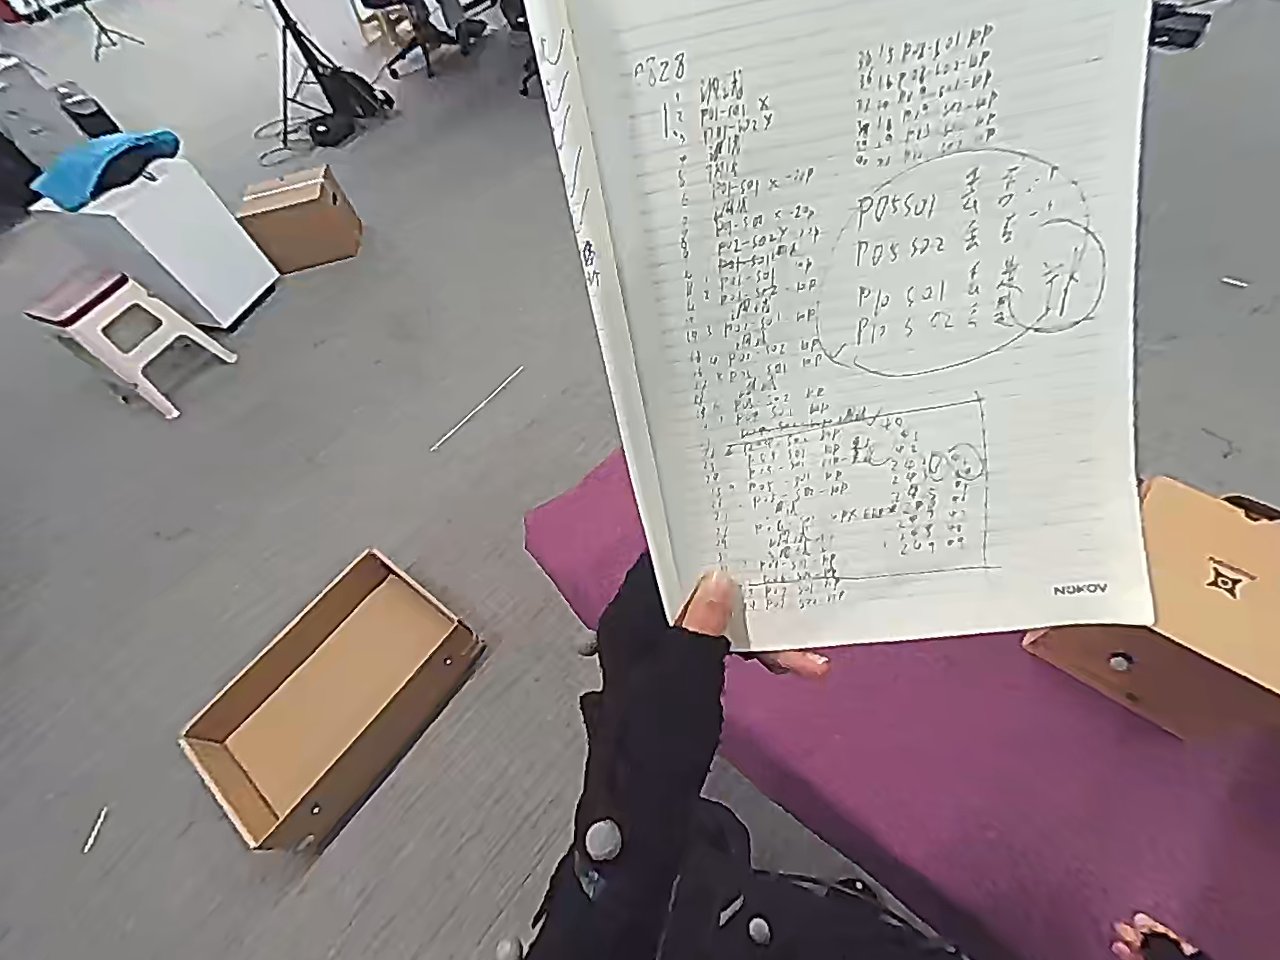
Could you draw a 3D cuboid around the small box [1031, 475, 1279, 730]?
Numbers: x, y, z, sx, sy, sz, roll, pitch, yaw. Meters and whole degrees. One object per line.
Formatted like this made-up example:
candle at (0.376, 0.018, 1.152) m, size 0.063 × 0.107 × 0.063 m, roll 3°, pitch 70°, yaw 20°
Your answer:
small box at (0.561, 0.135, 0.577) m, size 0.168 × 0.176 × 0.179 m, roll 32°, pitch 67°, yaw 27°
